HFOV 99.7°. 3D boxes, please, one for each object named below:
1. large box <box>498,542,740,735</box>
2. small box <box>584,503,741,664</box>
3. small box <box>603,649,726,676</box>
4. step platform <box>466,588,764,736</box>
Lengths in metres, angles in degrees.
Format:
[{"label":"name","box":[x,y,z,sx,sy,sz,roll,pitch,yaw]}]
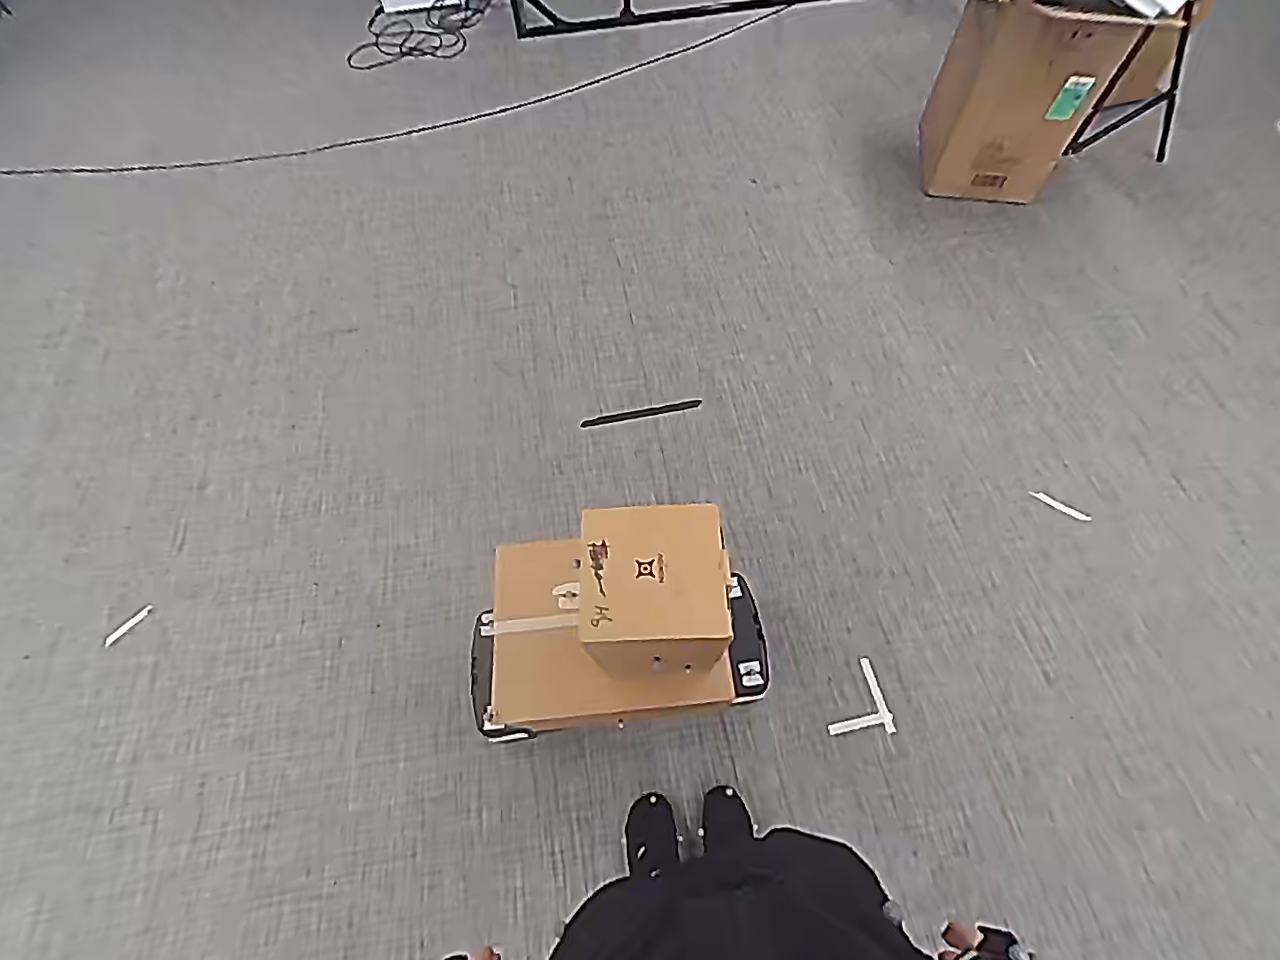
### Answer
[{"label":"large box","box":[-0.040,0.313,1.076,0.408,0.320,0.320,-7,62,0]},{"label":"small box","box":[0.025,0.139,0.703,0.179,0.176,0.168,-2,62,1]},{"label":"small box","box":[0.032,0.210,0.851,0.179,0.176,0.168,-4,62,1]},{"label":"step platform","box":[-0.056,0.430,1.285,0.684,0.204,0.286,-5,62,1]}]
